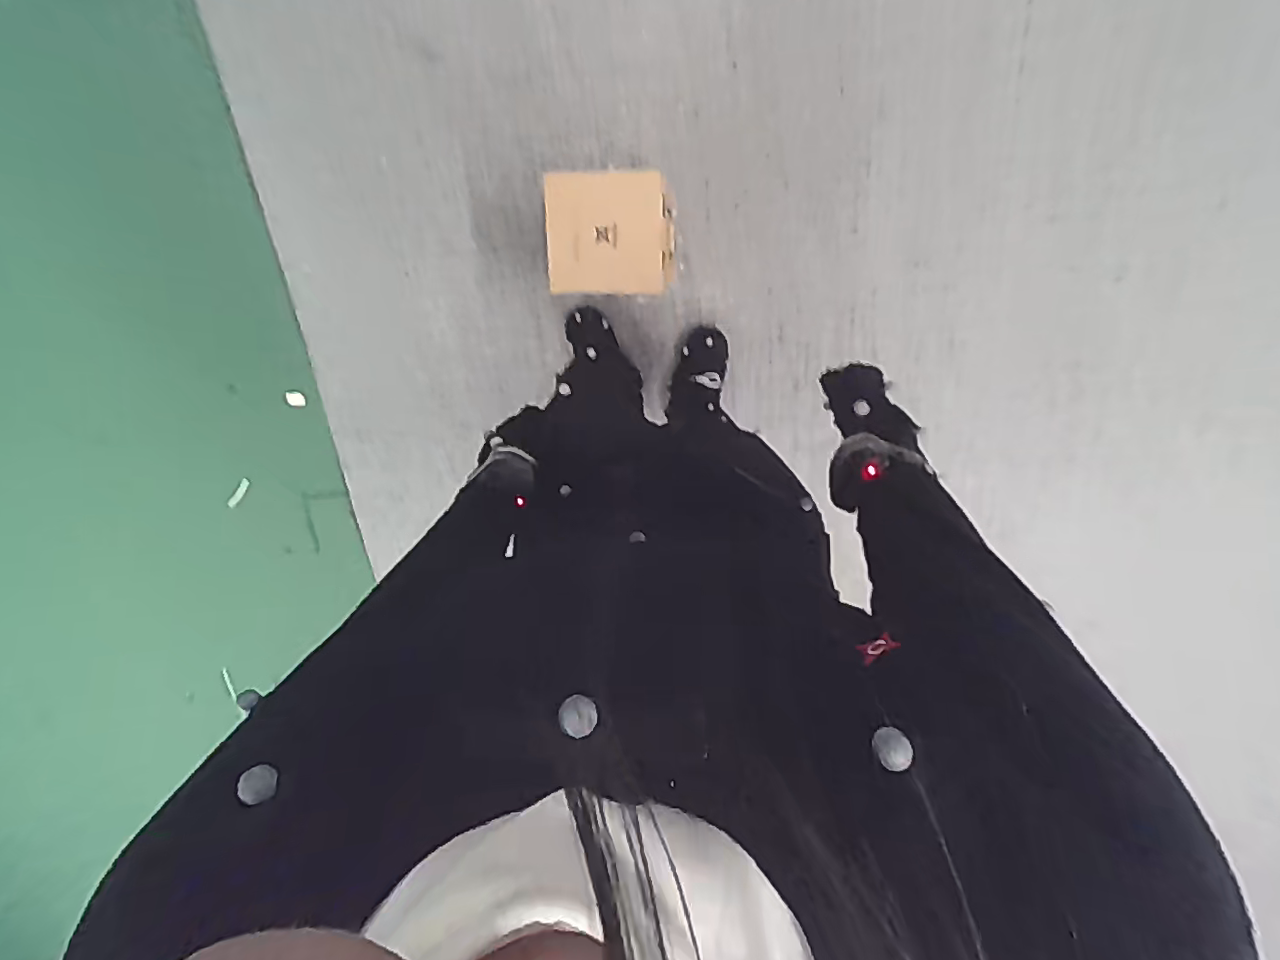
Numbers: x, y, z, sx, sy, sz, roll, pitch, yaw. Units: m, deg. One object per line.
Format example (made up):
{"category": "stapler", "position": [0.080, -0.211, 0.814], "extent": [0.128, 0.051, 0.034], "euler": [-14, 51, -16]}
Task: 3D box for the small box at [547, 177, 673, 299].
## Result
{"category": "small box", "position": [-0.038, -0.382, 0.871], "extent": [0.179, 0.176, 0.168], "euler": [2, 110, 7]}
